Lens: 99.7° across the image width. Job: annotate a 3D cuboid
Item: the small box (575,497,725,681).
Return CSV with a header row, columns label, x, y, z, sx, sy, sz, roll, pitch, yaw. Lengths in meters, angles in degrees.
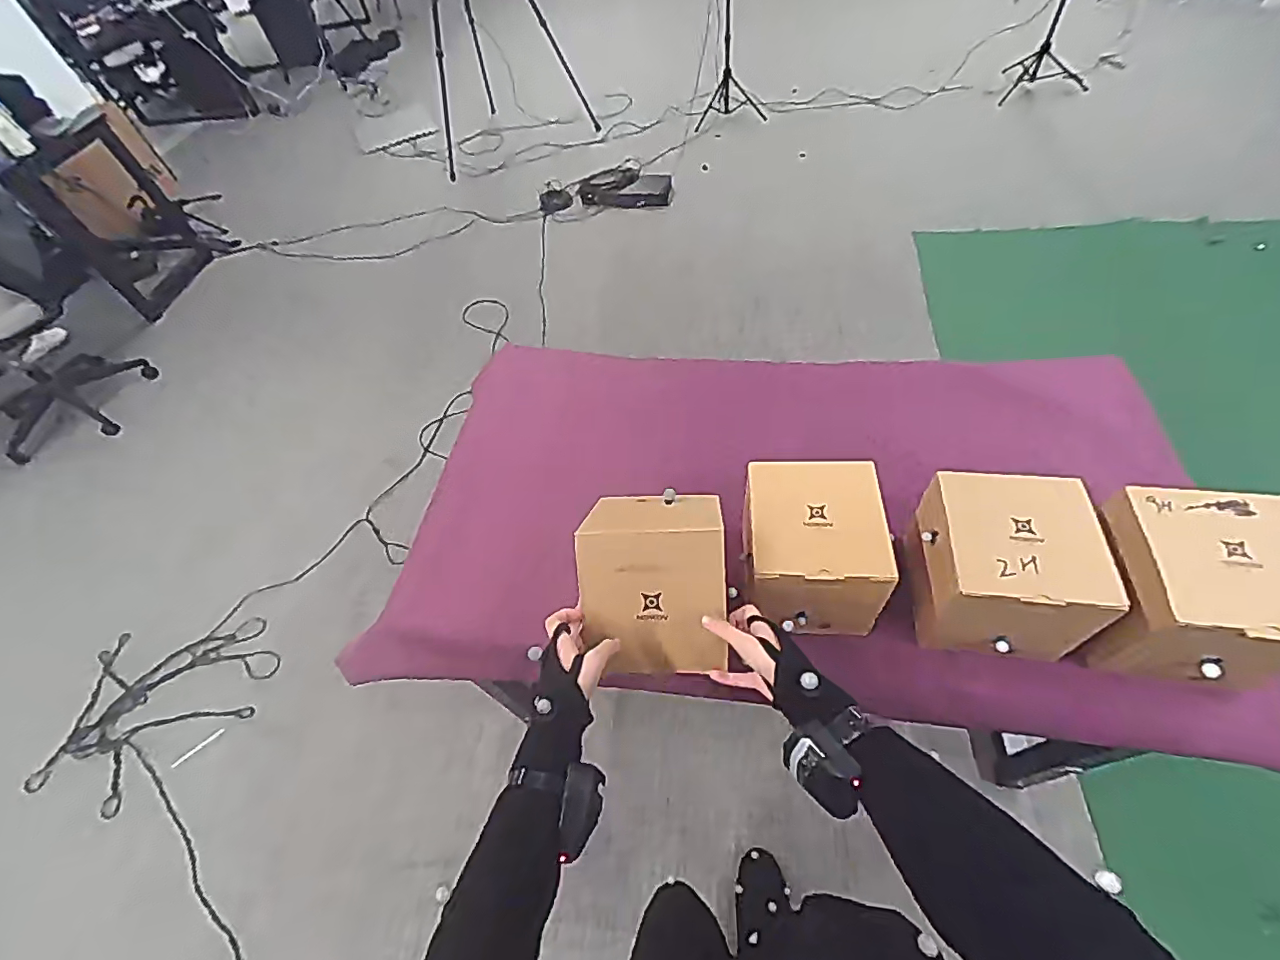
label,x,y,z,sx,sy,sz,roll,pitch,yaw
small box,0.023,0.128,0.679,0.168,0.179,0.176,-2,12,7
